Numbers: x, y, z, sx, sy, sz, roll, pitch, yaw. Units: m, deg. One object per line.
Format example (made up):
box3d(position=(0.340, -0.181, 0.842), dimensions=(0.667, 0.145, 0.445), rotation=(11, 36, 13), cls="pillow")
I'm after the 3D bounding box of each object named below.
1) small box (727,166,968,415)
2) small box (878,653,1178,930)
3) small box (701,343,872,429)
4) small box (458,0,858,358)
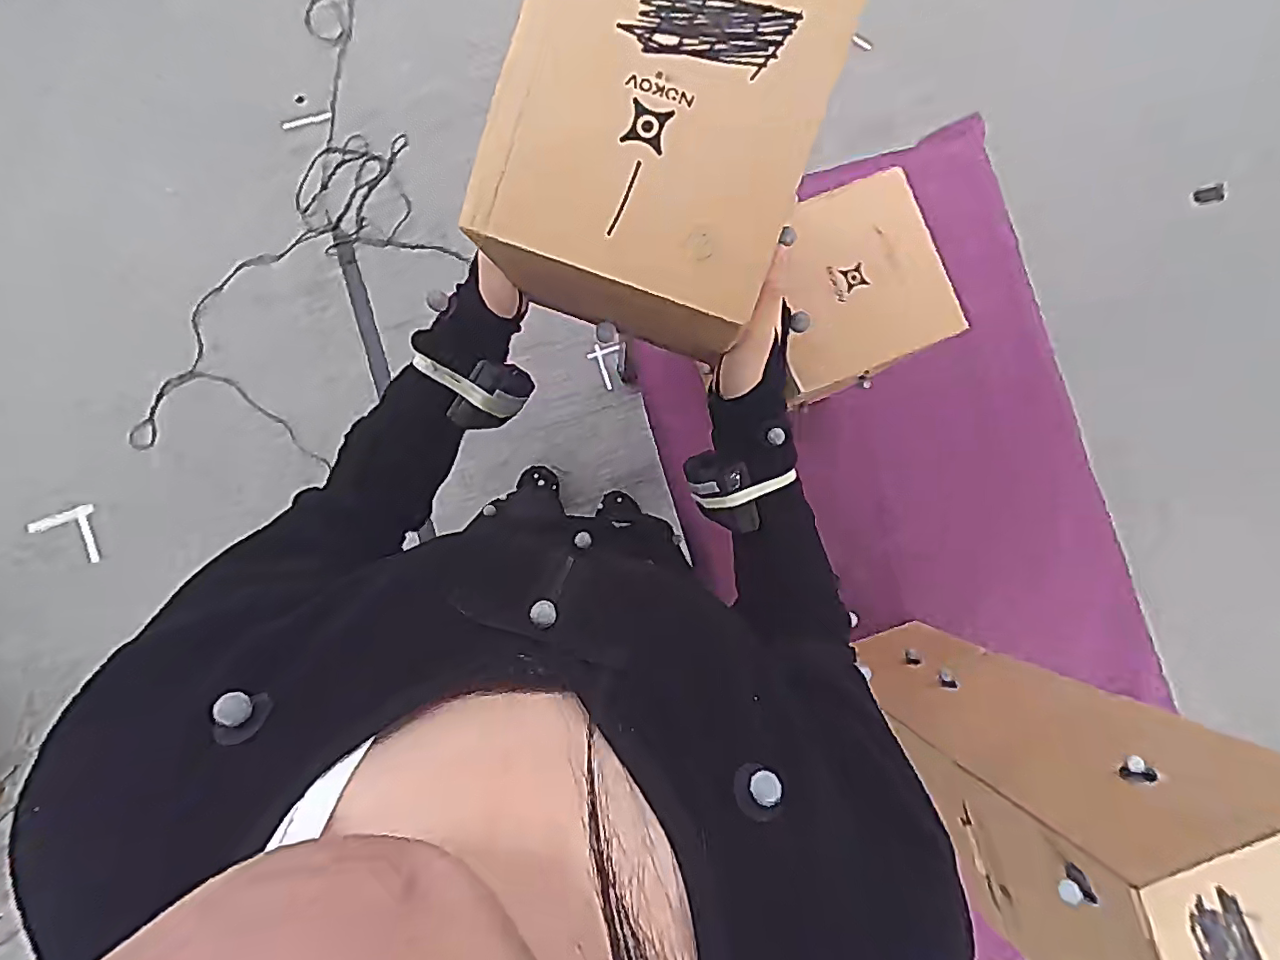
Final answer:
box3d(position=(0.189, -0.181, 0.572), dimensions=(0.179, 0.176, 0.168), rotation=(-23, 90, -5), cls="small box")
box3d(position=(0.375, 0.301, 0.564), dimensions=(0.179, 0.176, 0.168), rotation=(-16, 88, -4), cls="small box")
box3d(position=(0.185, -0.179, 0.734), dimensions=(0.179, 0.176, 0.168), rotation=(-21, 90, -5), cls="small box")
box3d(position=(0.009, -0.196, 0.357), dimensions=(0.168, 0.176, 0.179), rotation=(19, 96, 1), cls="small box")
